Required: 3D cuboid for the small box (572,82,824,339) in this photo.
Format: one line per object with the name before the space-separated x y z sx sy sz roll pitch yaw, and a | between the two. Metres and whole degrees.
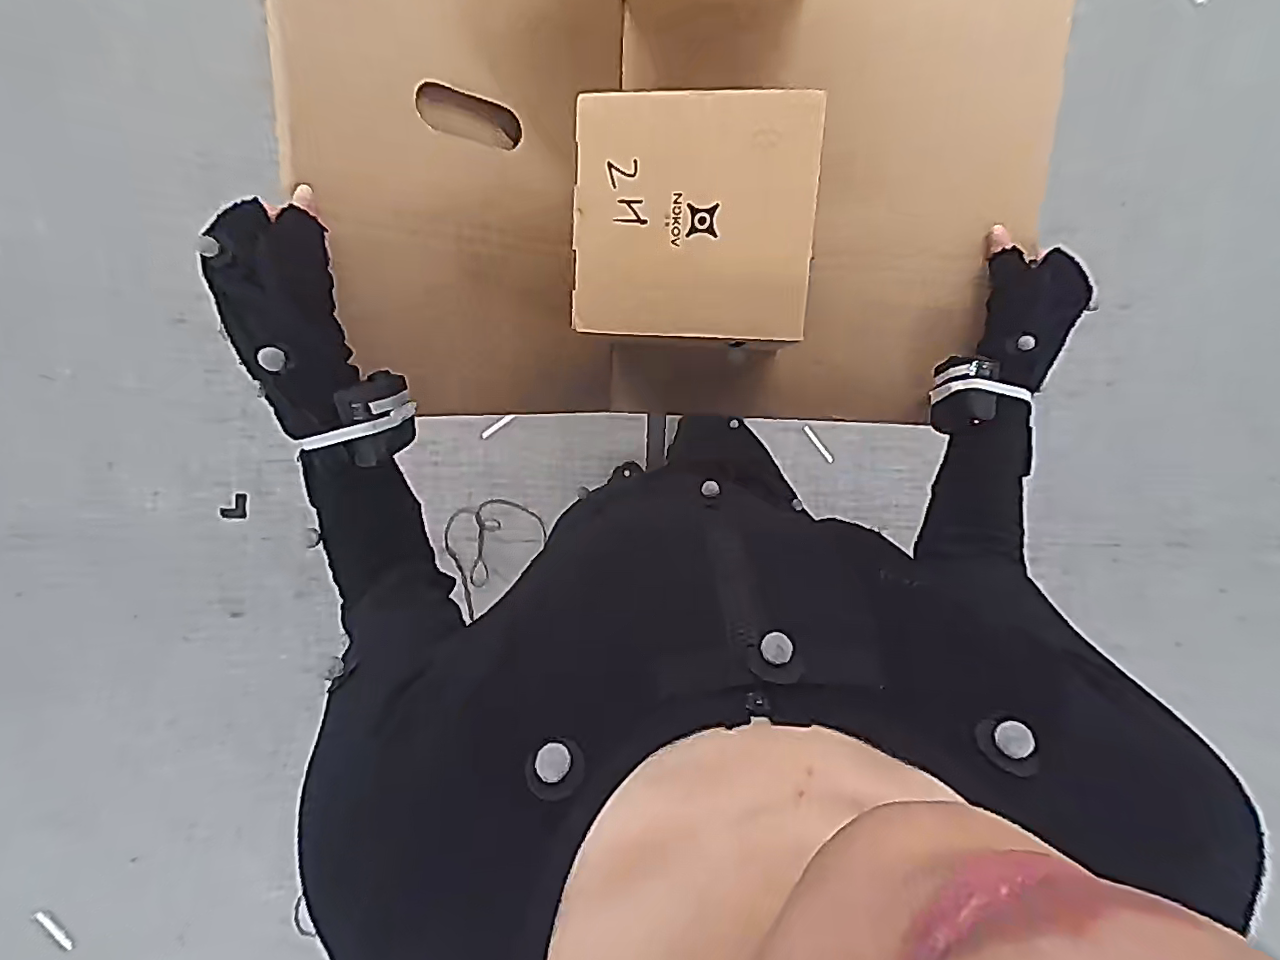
small box | 0.047 -0.216 0.476 0.179 0.176 0.168 5 101 7
